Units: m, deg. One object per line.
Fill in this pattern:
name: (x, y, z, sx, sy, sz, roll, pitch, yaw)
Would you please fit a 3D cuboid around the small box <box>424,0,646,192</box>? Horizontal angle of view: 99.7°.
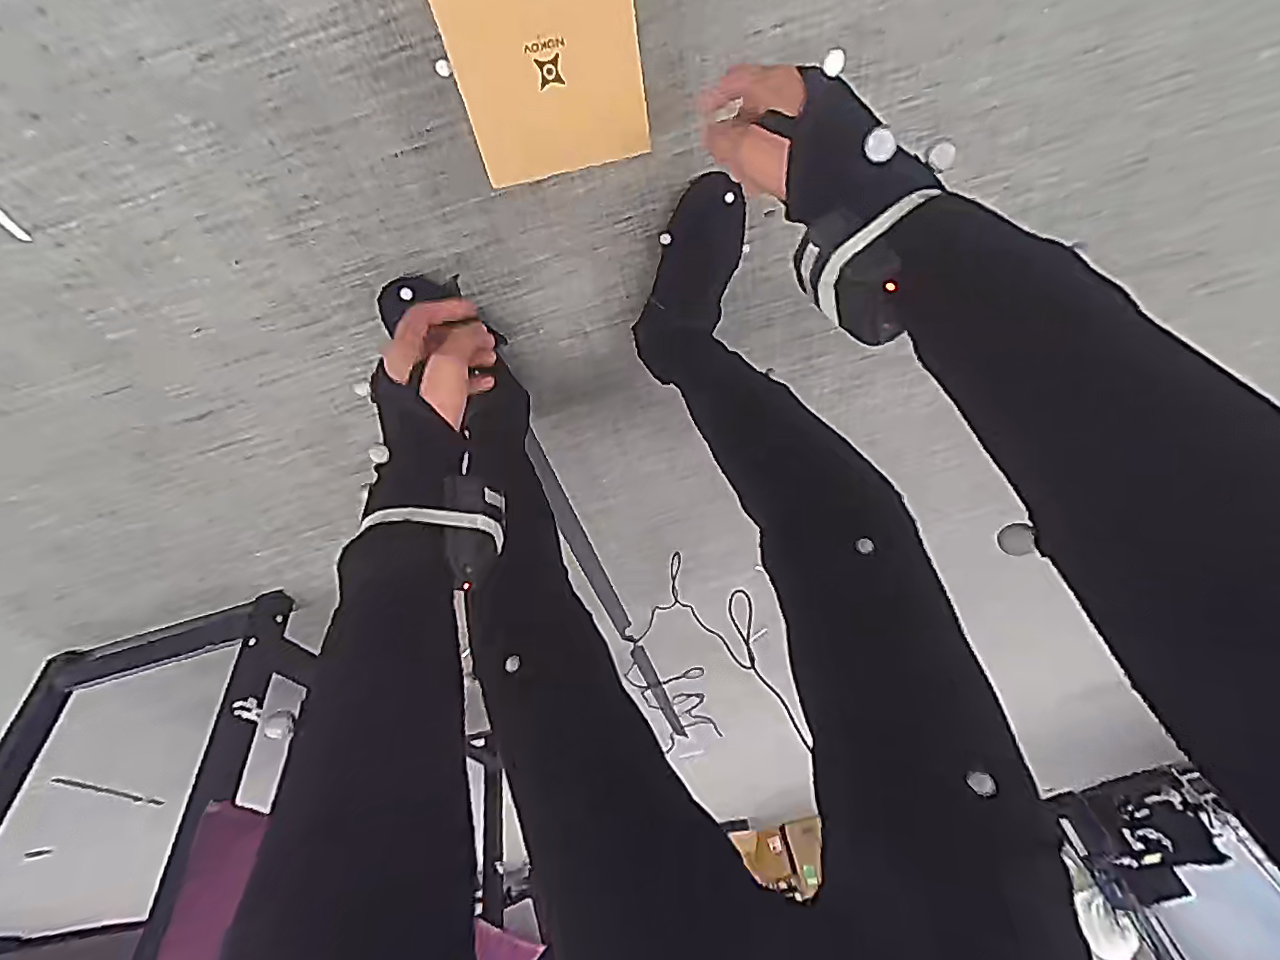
small box: (-0.096, -0.418, 0.527, 0.168, 0.176, 0.179, -14, 138, 0)
